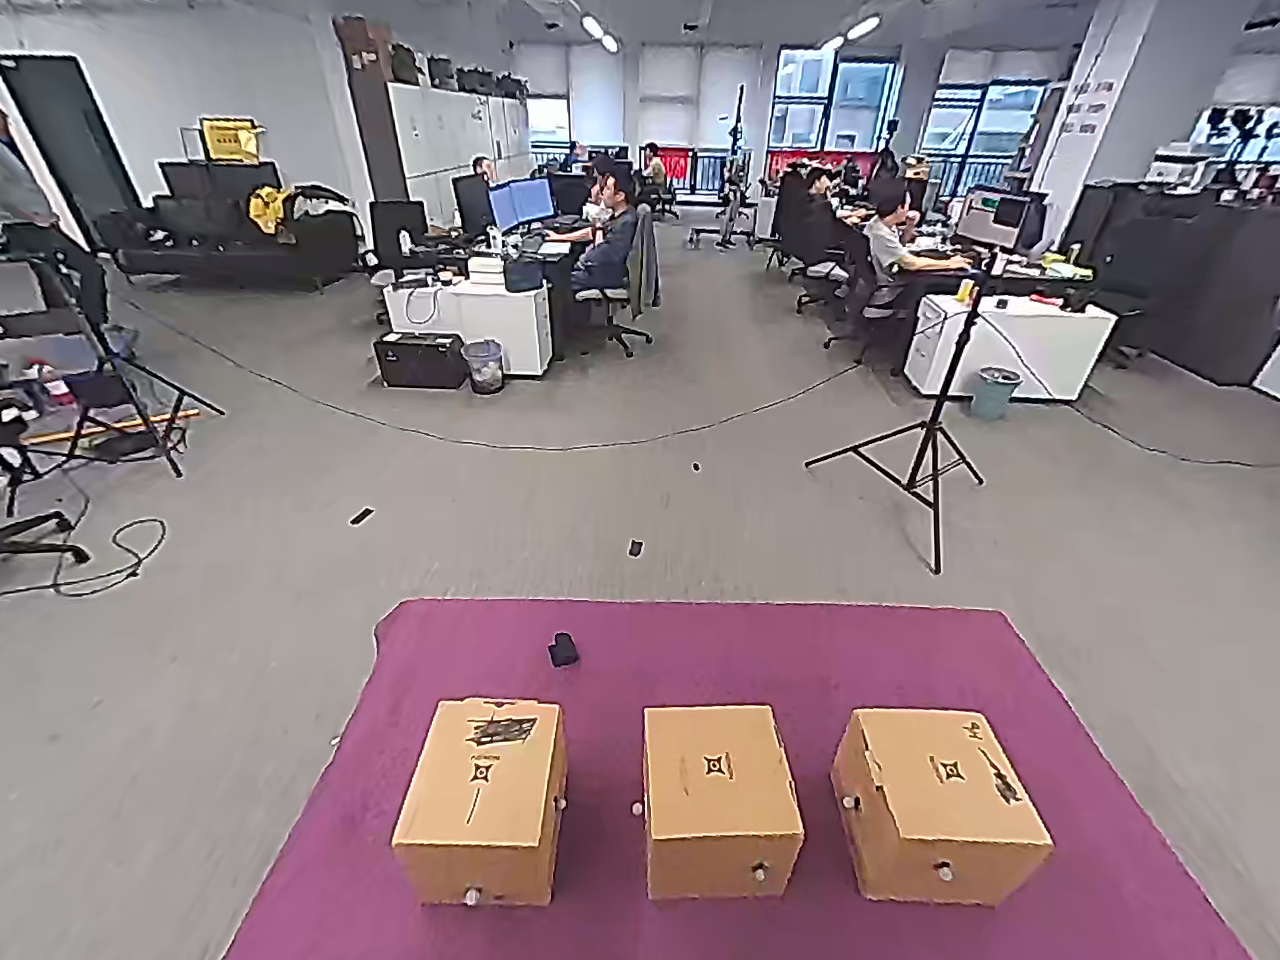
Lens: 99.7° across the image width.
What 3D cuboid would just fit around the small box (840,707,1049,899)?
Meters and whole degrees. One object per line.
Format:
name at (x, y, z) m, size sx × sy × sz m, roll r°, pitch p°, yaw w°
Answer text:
small box at (0.378, 0.425, 0.716) m, size 0.179 × 0.176 × 0.168 m, roll 1°, pitch 33°, yaw 1°

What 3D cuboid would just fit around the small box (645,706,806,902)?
small box at (0.098, 0.424, 0.715) m, size 0.179 × 0.176 × 0.168 m, roll -2°, pitch 32°, yaw -3°
